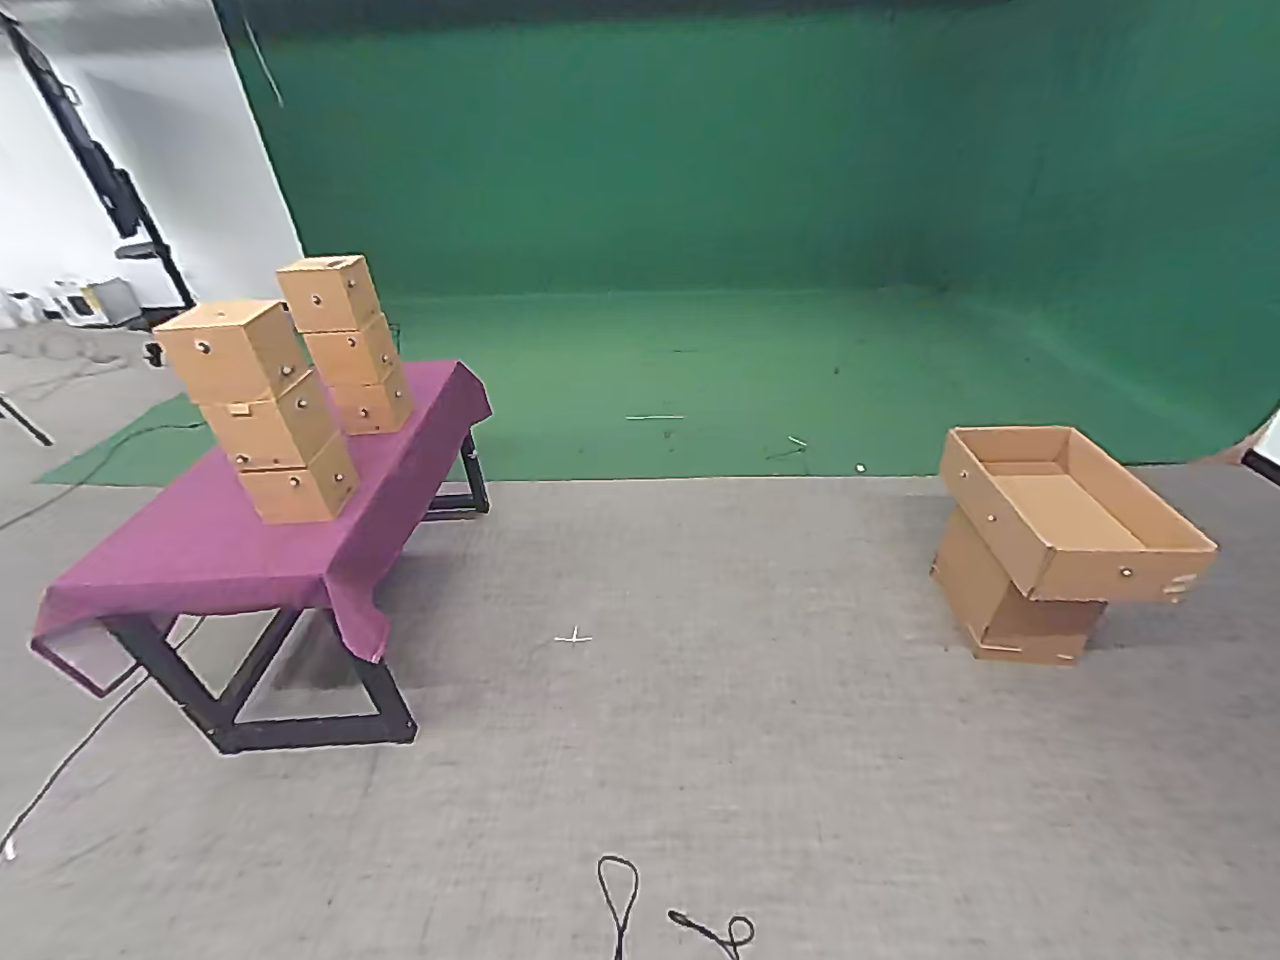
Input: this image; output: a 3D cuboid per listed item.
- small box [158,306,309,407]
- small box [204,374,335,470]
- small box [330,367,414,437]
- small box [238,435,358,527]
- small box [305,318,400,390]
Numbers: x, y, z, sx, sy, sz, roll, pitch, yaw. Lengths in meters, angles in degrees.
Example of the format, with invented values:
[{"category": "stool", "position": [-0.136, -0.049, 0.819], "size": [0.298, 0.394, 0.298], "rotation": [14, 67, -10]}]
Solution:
[{"category": "small box", "position": [-0.868, -0.267, 1.176], "size": [0.179, 0.176, 0.168], "rotation": [-4, 35, -2]}, {"category": "small box", "position": [-0.851, -0.133, 1.267], "size": [0.168, 0.176, 0.179], "rotation": [-3, 33, 0]}, {"category": "small box", "position": [-0.847, -0.247, 1.731], "size": [0.168, 0.176, 0.179], "rotation": [-3, 35, -1]}, {"category": "small box", "position": [-0.845, 0.003, 1.360], "size": [0.179, 0.176, 0.168], "rotation": [-3, 33, 0]}, {"category": "small box", "position": [-0.861, -0.380, 1.637], "size": [0.179, 0.176, 0.168], "rotation": [-2, 34, 0]}]
